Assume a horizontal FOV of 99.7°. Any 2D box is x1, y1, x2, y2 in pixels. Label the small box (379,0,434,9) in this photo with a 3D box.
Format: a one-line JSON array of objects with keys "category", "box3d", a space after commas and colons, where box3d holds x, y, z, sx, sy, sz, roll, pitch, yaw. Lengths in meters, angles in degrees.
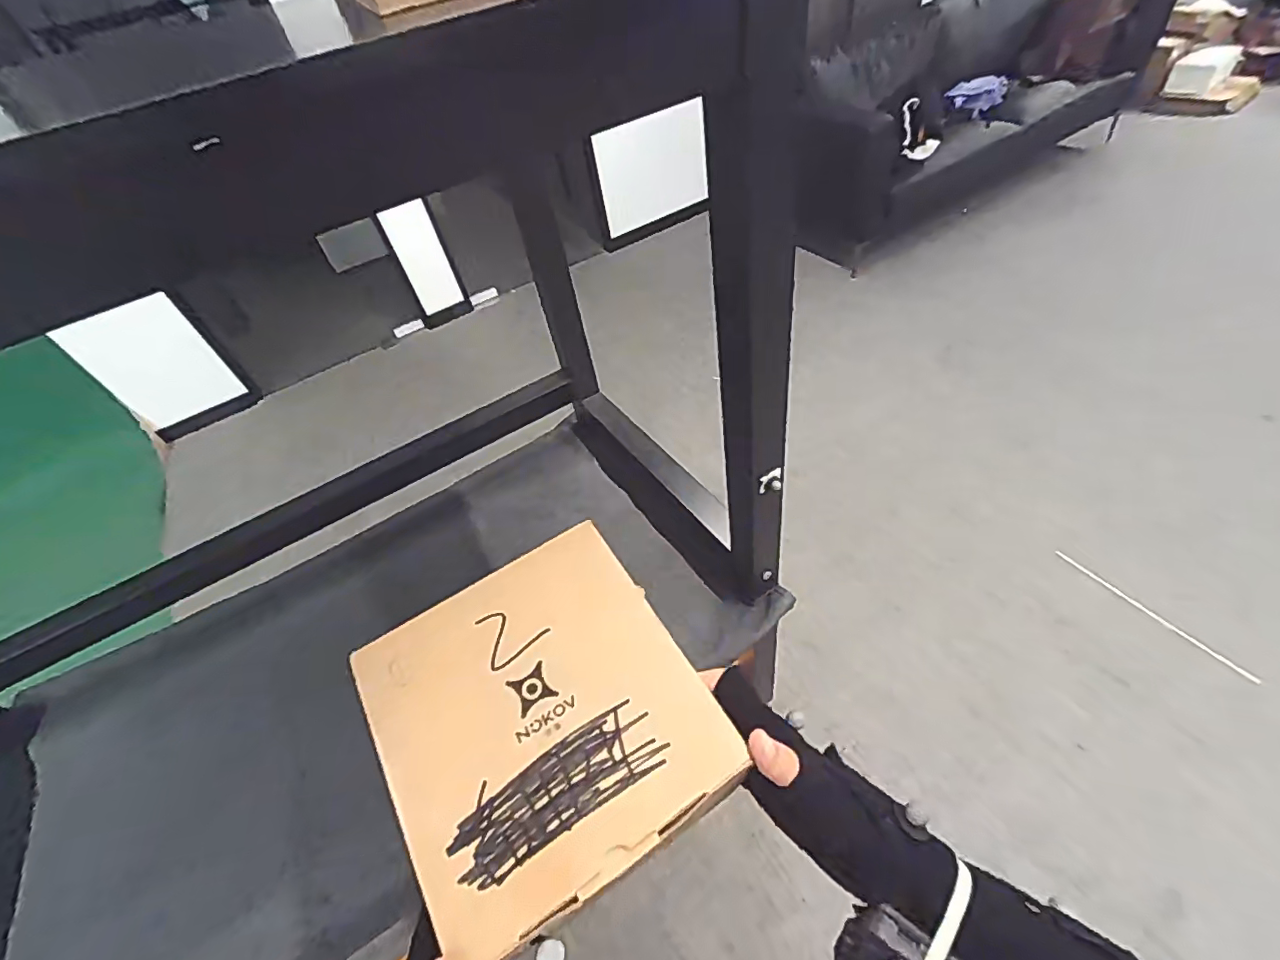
[{"category": "small box", "box3d": [-0.104, -0.383, 0.294, 0.168, 0.176, 0.179, -24, 47, -9]}]
